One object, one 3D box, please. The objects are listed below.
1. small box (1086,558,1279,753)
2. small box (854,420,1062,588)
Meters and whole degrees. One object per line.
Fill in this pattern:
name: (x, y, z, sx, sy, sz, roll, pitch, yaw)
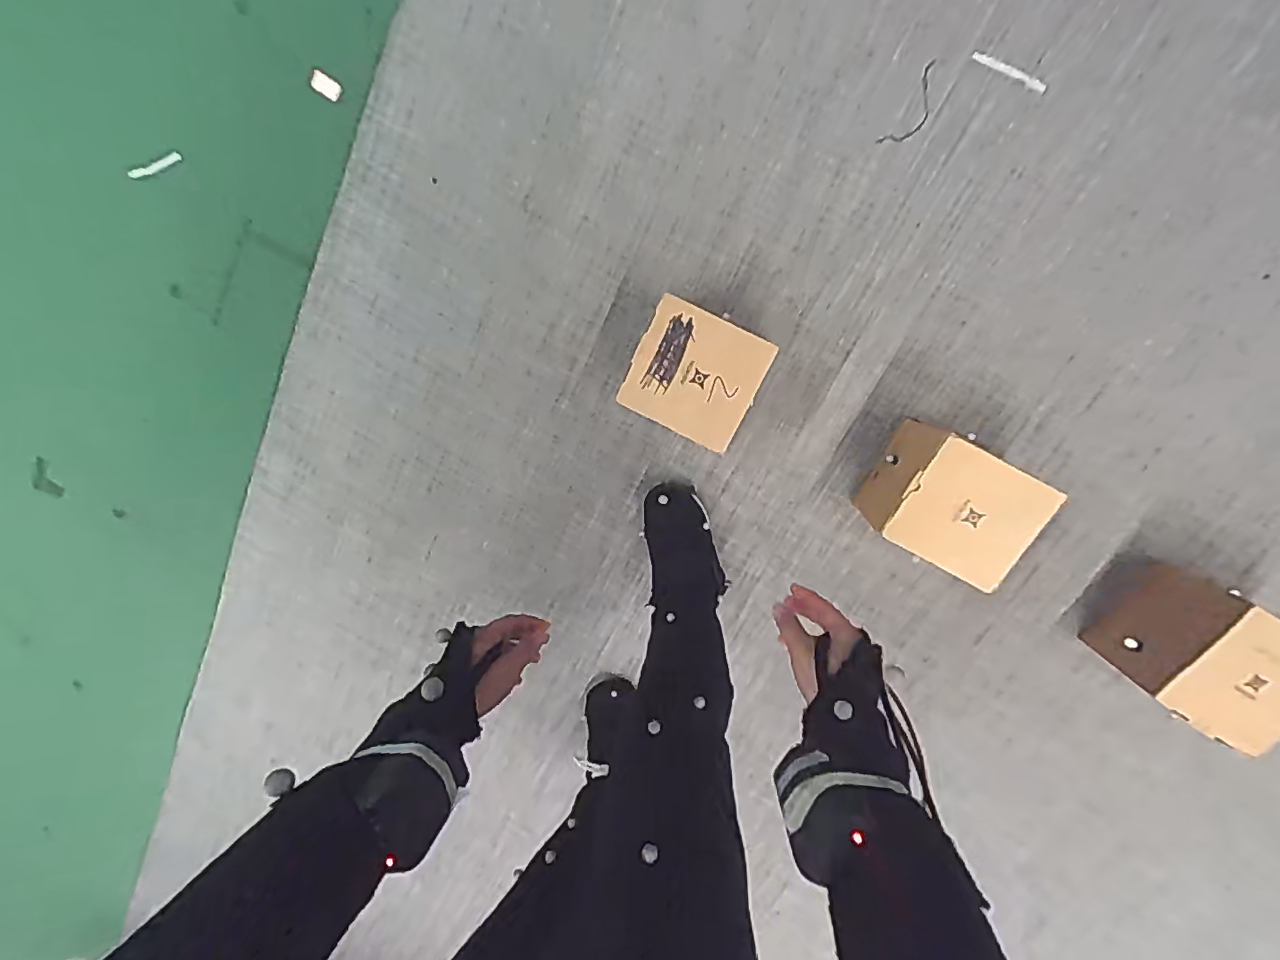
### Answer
small box: (0.820, 0.247, 0.799, 0.168, 0.176, 0.179, 32, 105, -1)
small box: (0.452, 0.023, 0.804, 0.179, 0.176, 0.168, 29, 106, 2)
